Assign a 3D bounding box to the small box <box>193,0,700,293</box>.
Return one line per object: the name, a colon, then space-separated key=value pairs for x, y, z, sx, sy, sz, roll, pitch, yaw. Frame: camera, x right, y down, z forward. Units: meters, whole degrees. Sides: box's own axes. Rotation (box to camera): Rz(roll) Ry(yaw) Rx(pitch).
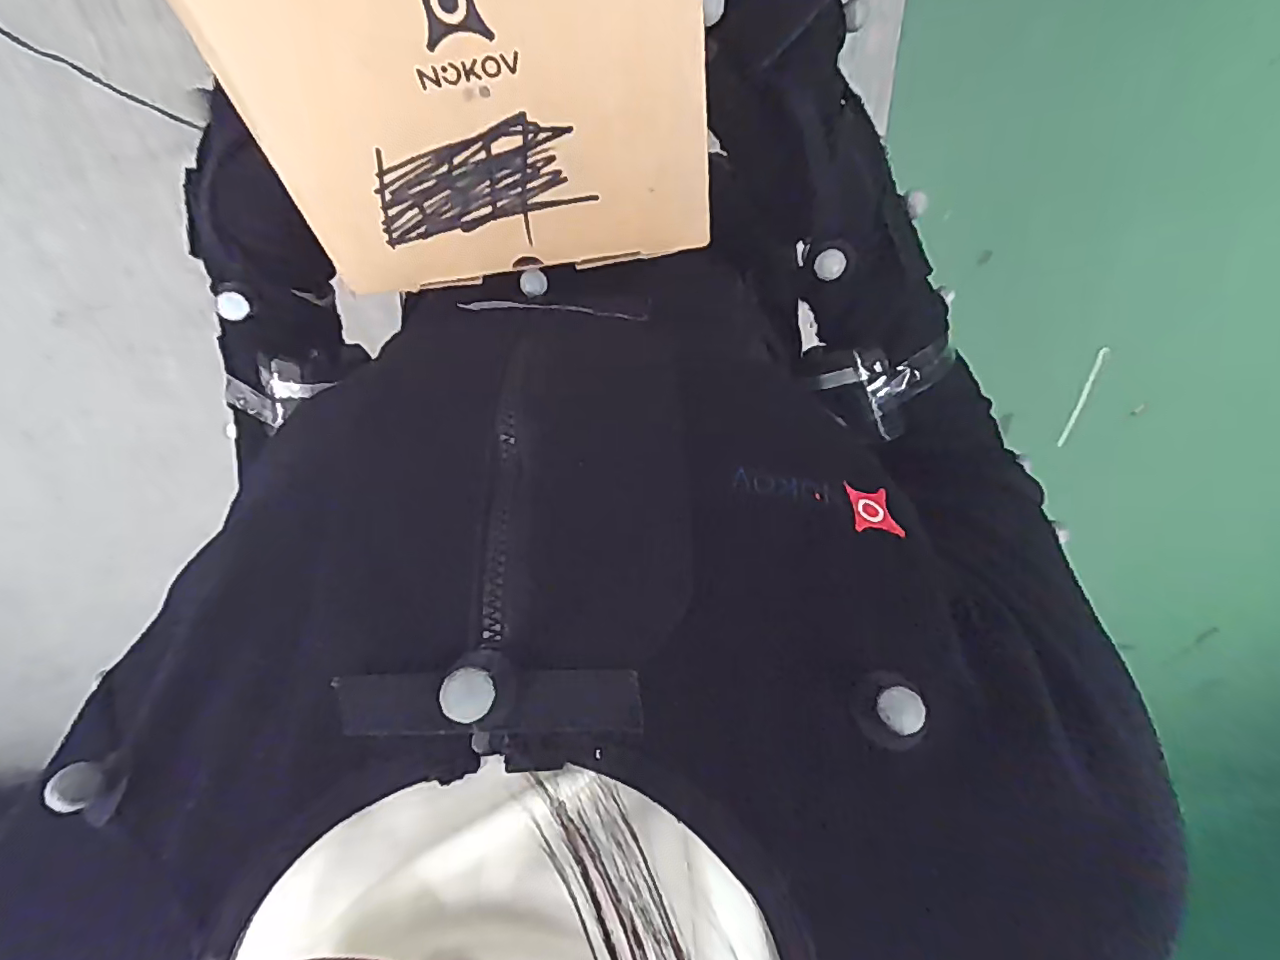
small box: x=-0.064 y=-0.212 z=0.237 sx=0.168 sy=0.176 sz=0.179 roll=-7 pitch=141 yaw=3
